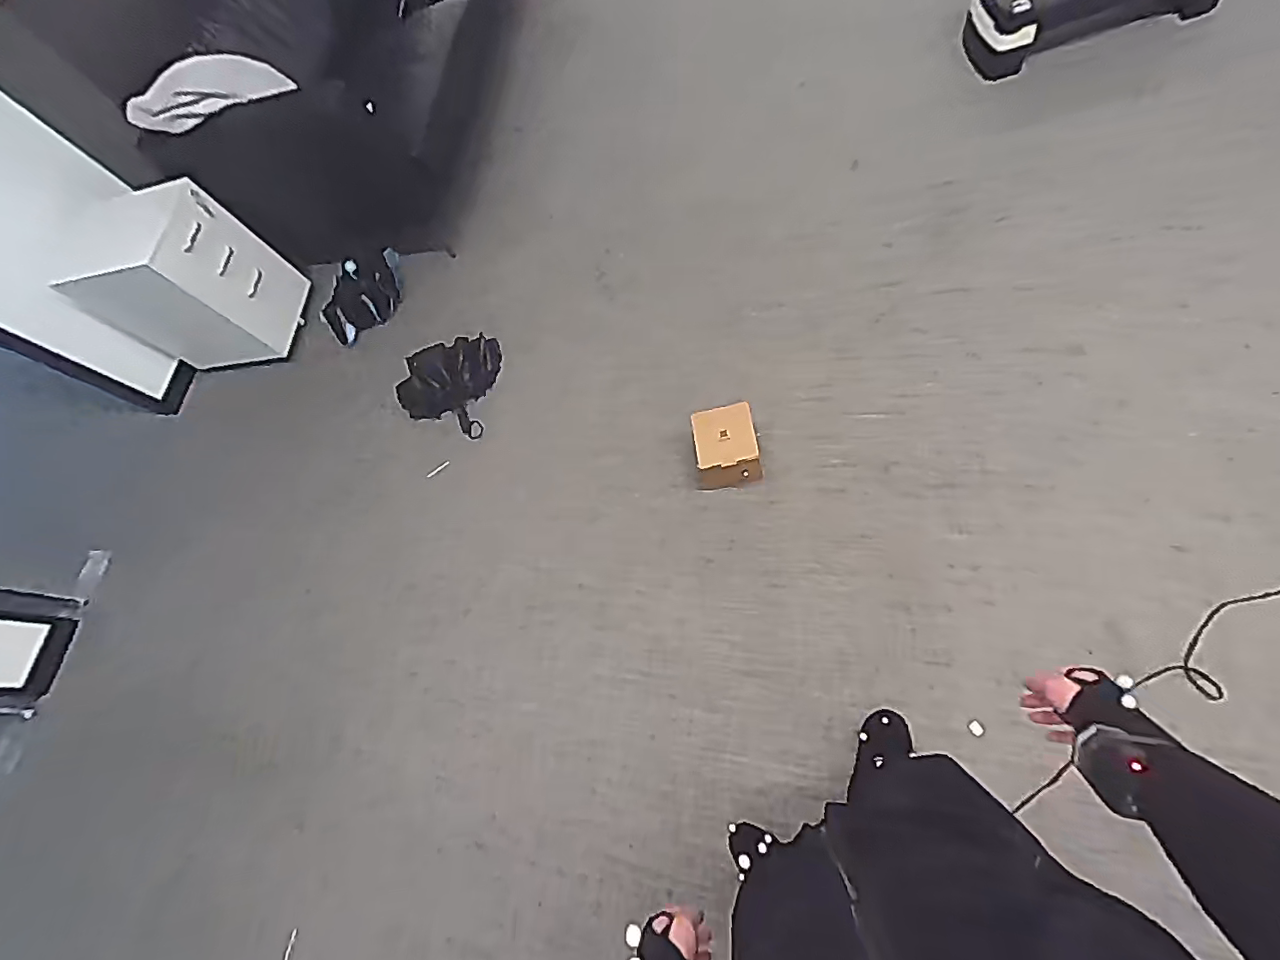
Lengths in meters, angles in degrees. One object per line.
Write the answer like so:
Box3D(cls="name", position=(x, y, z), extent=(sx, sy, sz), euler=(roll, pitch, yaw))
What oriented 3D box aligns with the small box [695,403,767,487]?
Box3D(cls="small box", position=(0.264, -0.090, 1.546), extent=(0.168, 0.176, 0.179), euler=(-13, 64, 12))
